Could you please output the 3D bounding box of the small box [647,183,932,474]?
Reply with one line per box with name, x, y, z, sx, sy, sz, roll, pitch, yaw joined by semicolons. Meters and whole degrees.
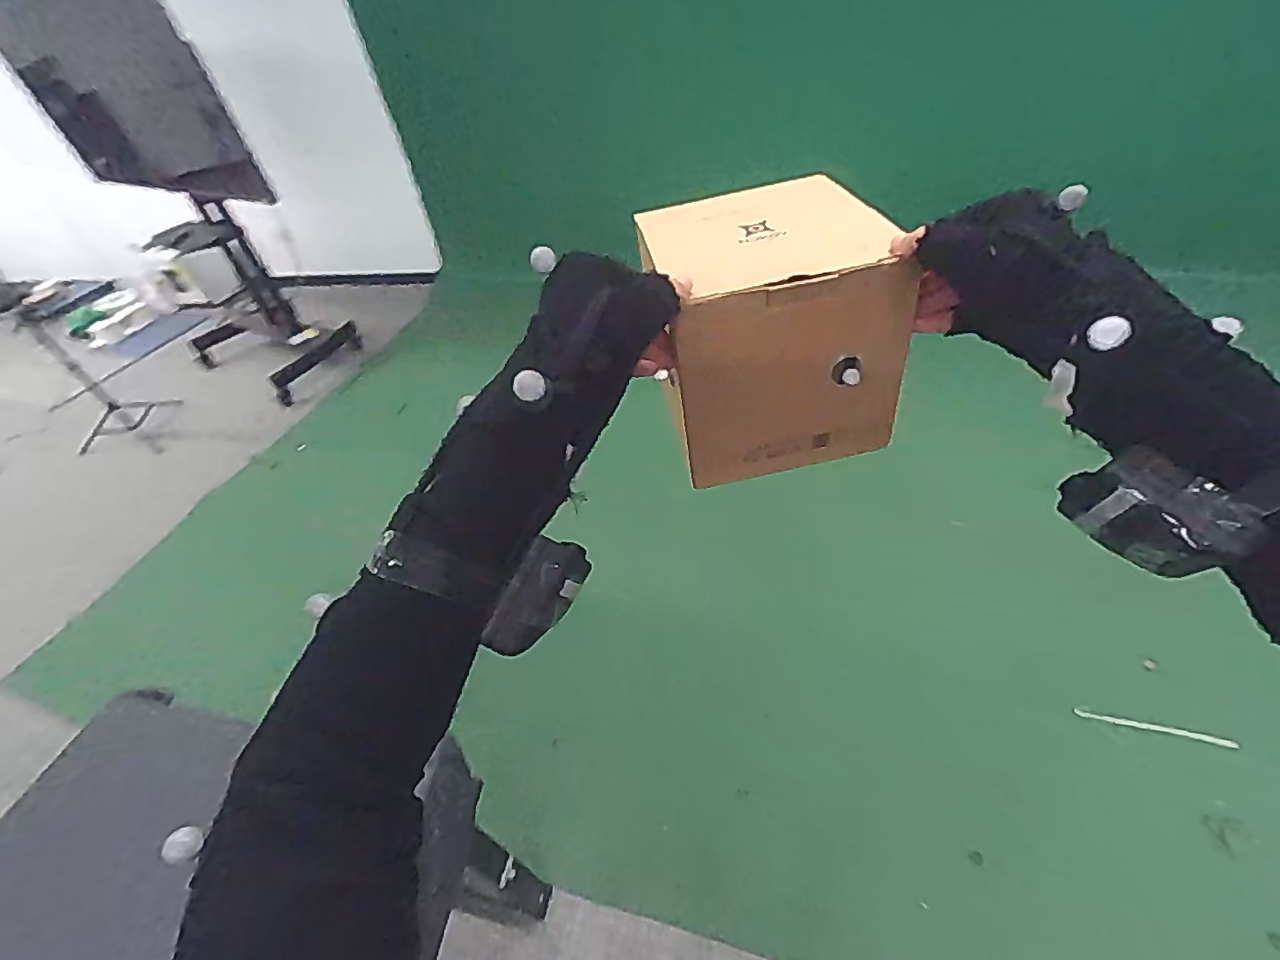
small box;0.107;-0.120;0.451;0.168;0.176;0.179;-11;42;0
